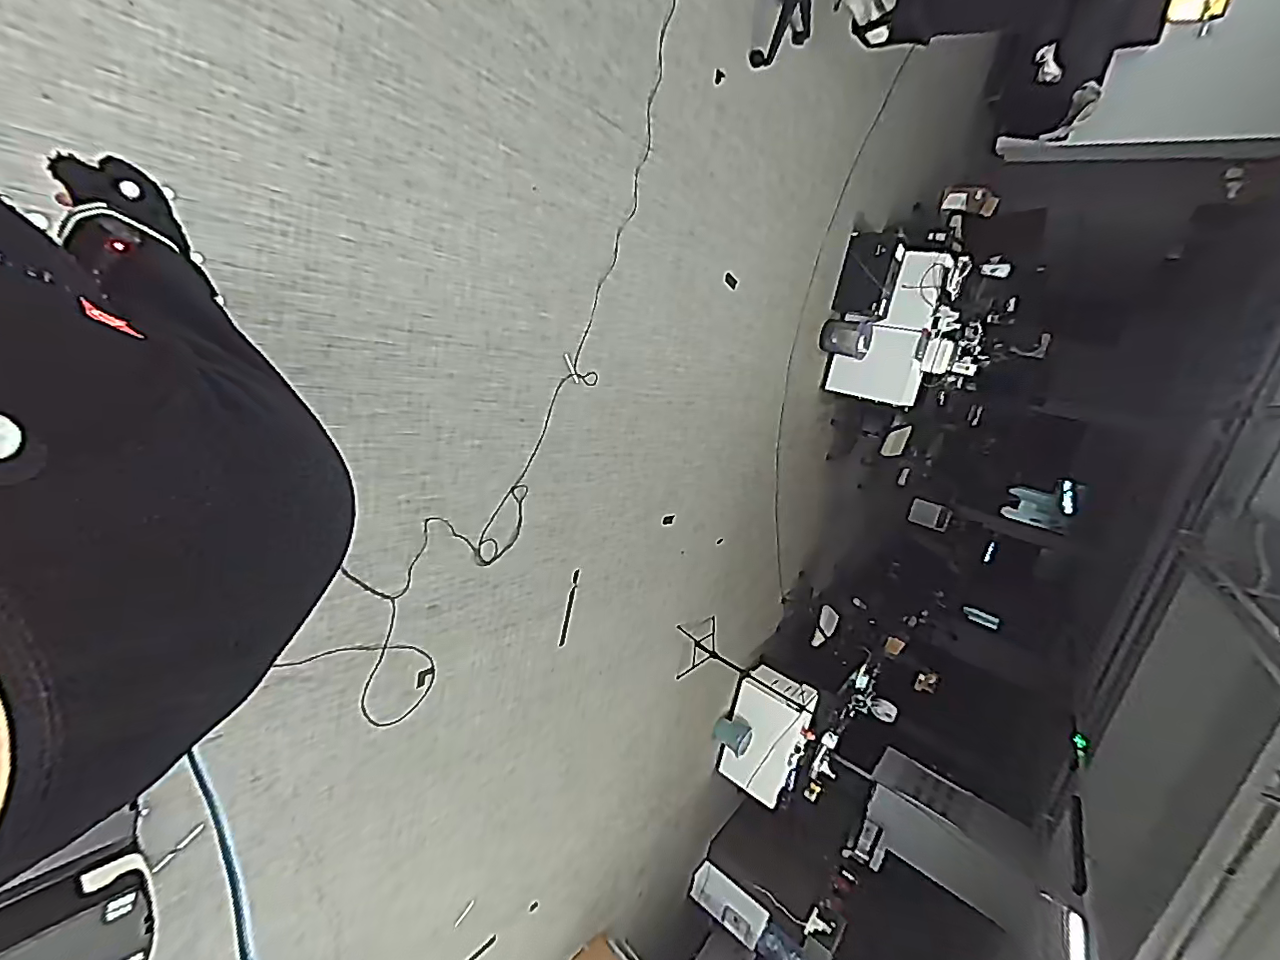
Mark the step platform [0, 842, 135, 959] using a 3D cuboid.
[{"bbox_3d":[-1.475,1.080,1.079,0.684,0.204,0.286,-10,115,-50],"label":"step platform"}]
